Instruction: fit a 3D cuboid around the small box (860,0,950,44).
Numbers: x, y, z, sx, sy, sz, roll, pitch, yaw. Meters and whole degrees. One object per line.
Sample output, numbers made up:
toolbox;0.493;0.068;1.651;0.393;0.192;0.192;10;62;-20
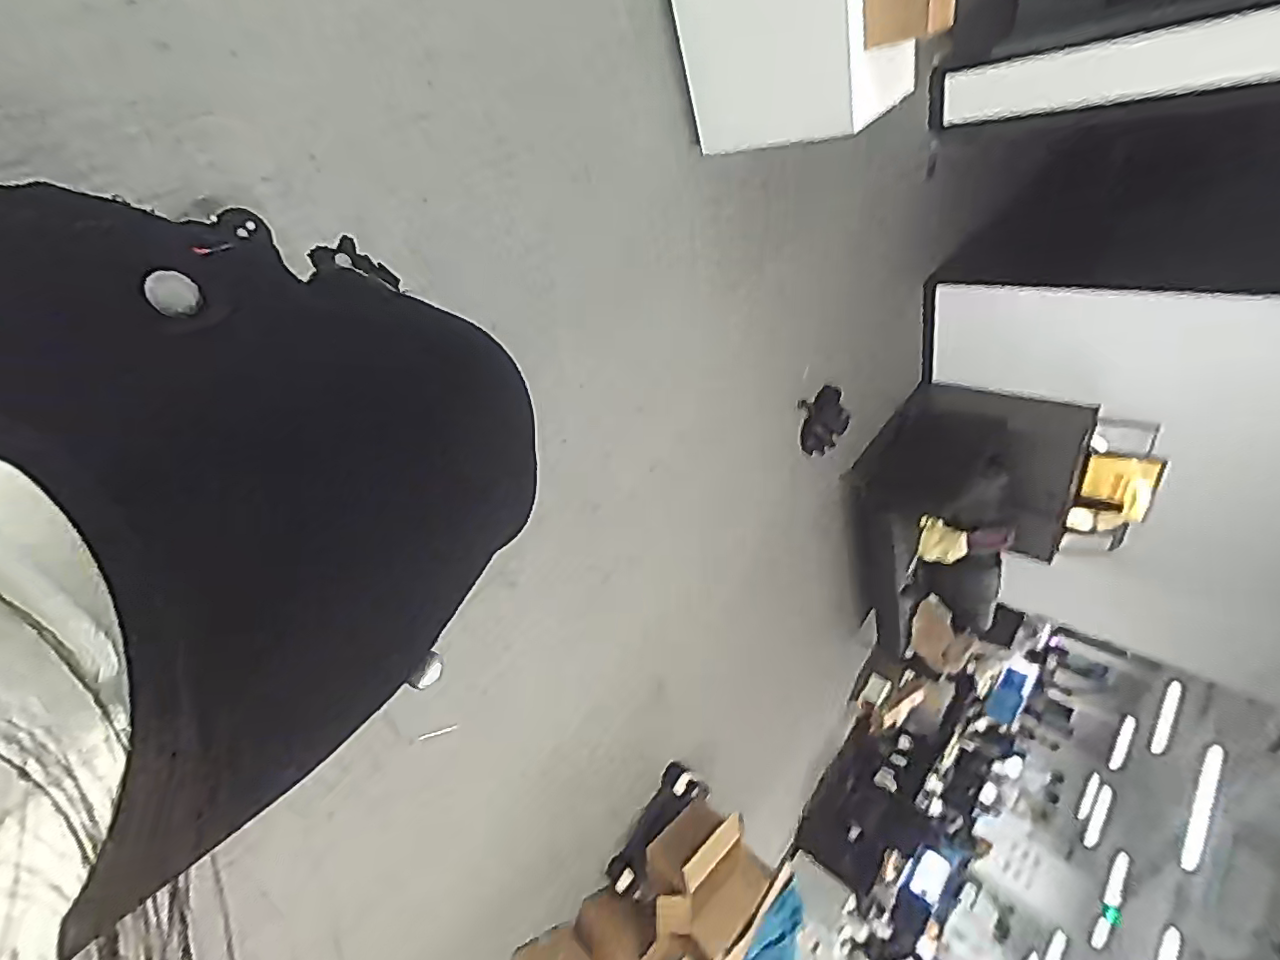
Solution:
small box;0.678;-1.259;1.384;0.168;0.176;0.179;-44;133;-26
